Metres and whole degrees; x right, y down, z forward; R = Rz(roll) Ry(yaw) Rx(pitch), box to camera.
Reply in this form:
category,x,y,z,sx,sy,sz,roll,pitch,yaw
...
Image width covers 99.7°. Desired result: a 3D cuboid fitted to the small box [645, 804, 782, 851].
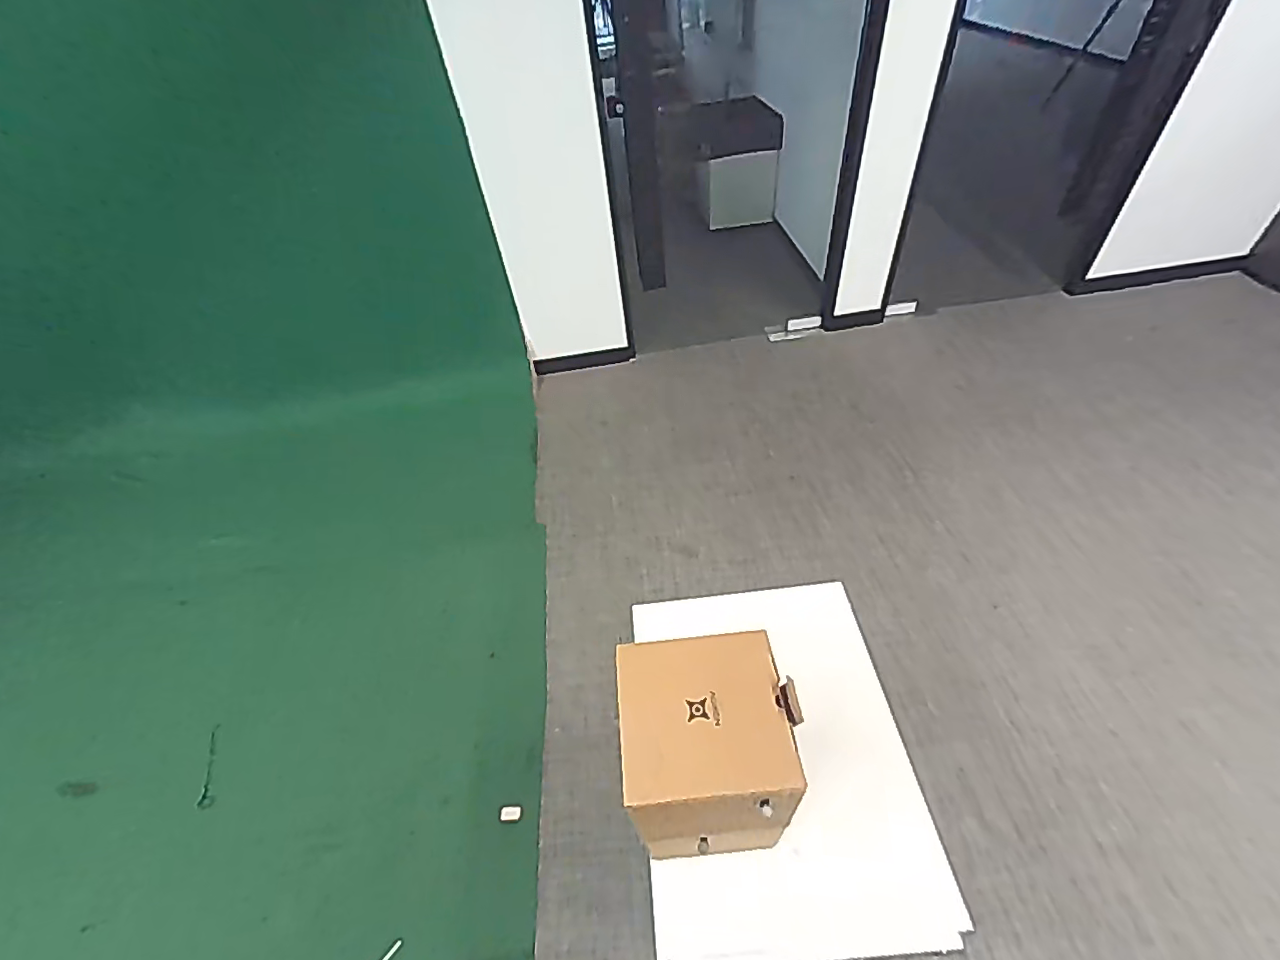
category,x,y,z,sx,sy,sz,roll,pitch,yaw
small box,0.083,0.393,0.742,0.179,0.176,0.168,-7,47,0

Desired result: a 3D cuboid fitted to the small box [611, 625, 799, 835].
category,x,y,z,sx,sy,sz,roll,pitch,yaw
small box,0.065,0.288,0.618,0.179,0.176,0.168,-6,47,0
